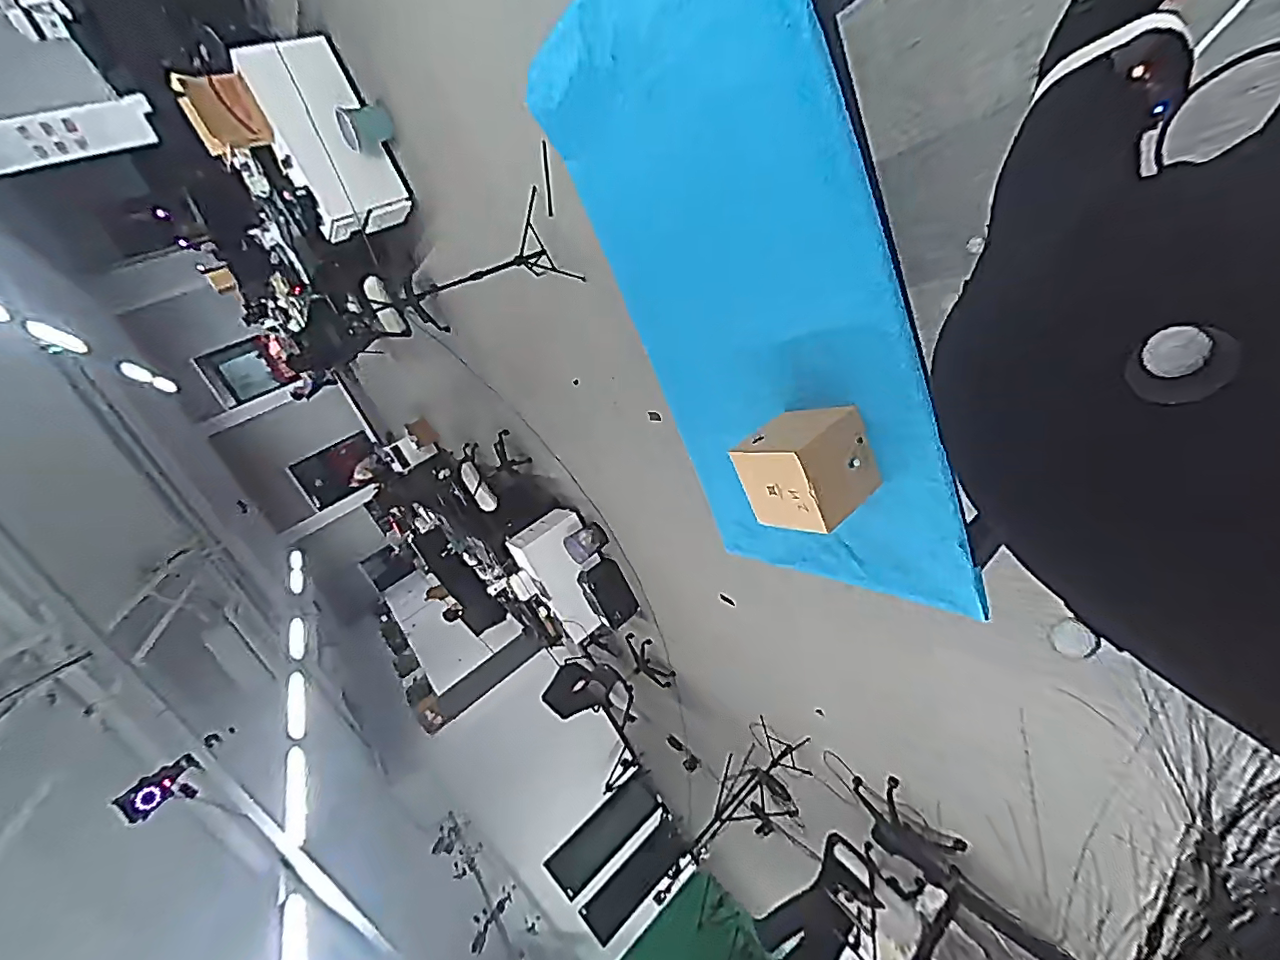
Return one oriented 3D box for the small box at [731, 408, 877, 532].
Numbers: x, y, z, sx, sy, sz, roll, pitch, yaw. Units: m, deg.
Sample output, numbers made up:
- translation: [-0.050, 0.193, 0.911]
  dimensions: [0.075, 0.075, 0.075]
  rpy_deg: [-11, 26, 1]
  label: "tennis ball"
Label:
- translation: [0.310, -0.026, 1.019]
  dimensions: [0.179, 0.176, 0.168]
  rpy_deg: [8, 129, 55]
  label: "small box"
